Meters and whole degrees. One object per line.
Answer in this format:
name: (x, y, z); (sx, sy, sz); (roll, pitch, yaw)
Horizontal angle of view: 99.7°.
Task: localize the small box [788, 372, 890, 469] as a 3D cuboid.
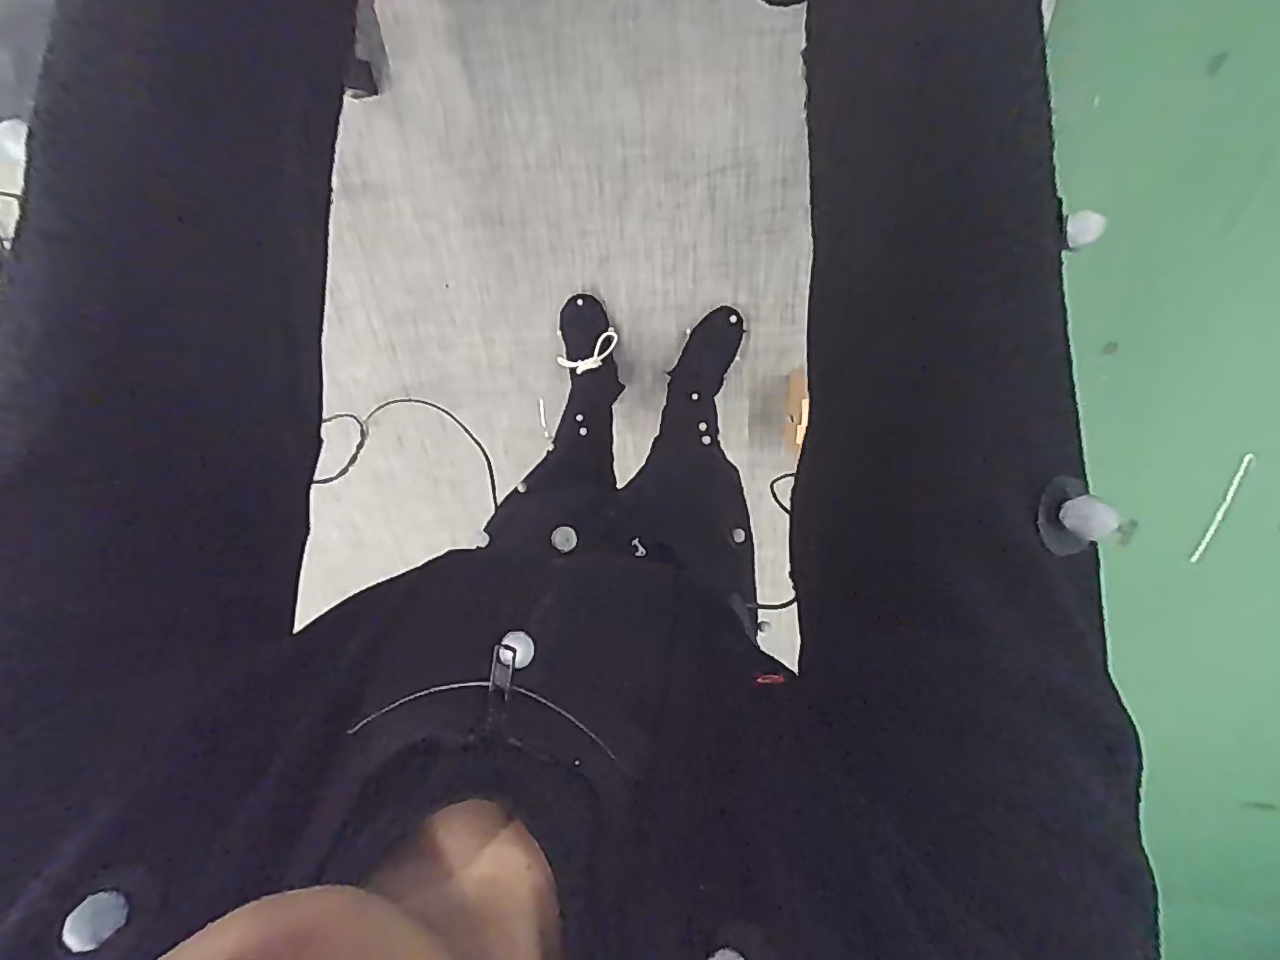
small box: (0.430, -0.135, 1.199); (0.179, 0.176, 0.168); (-1, 119, 7)
